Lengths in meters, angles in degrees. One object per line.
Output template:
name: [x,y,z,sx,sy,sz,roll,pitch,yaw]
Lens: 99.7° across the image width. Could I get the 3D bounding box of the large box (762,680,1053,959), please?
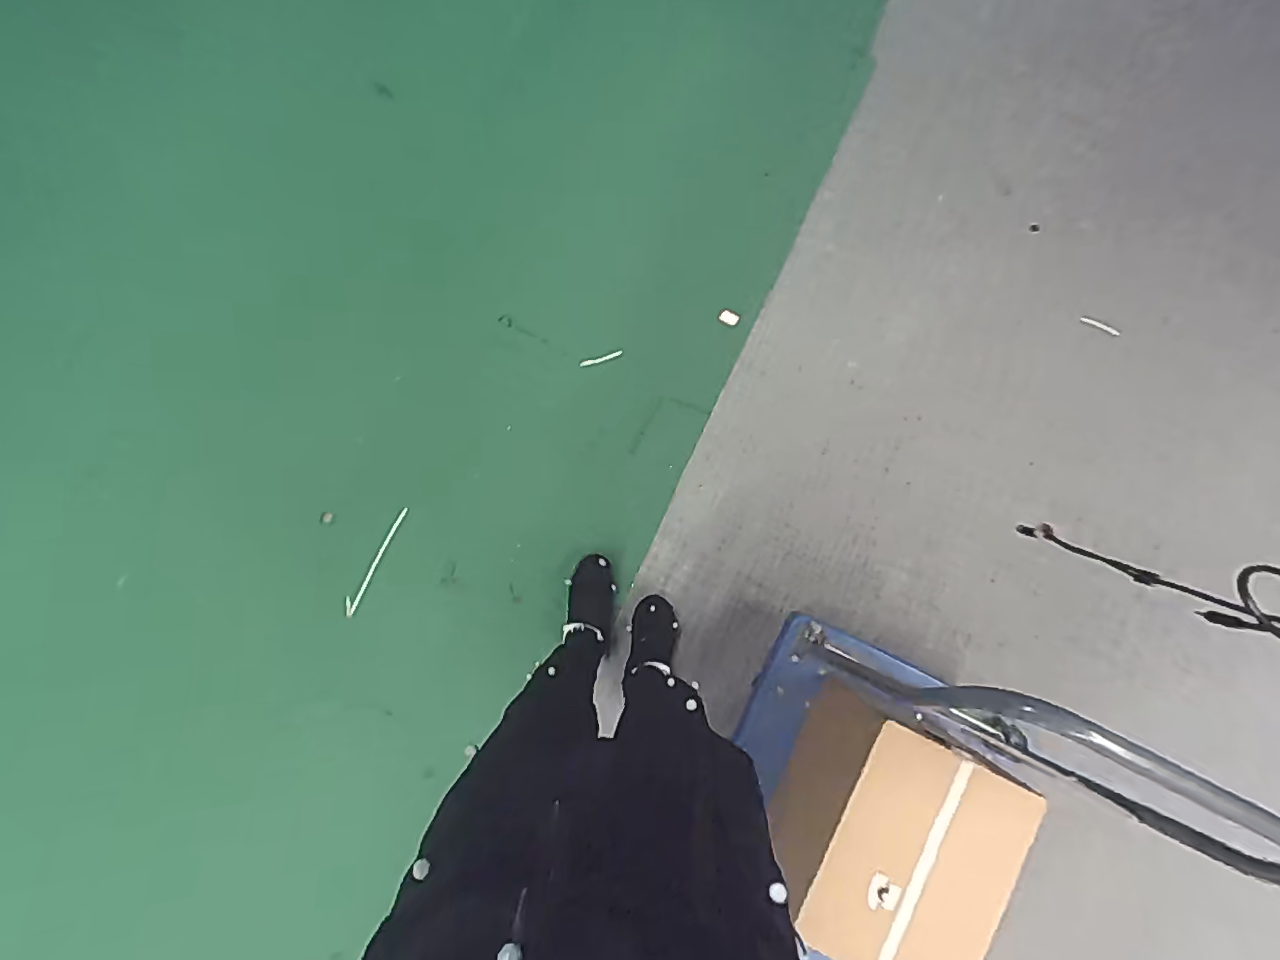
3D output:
large box: [0.490,0.679,1.066,0.320,0.320,0.408,27,86,3]
